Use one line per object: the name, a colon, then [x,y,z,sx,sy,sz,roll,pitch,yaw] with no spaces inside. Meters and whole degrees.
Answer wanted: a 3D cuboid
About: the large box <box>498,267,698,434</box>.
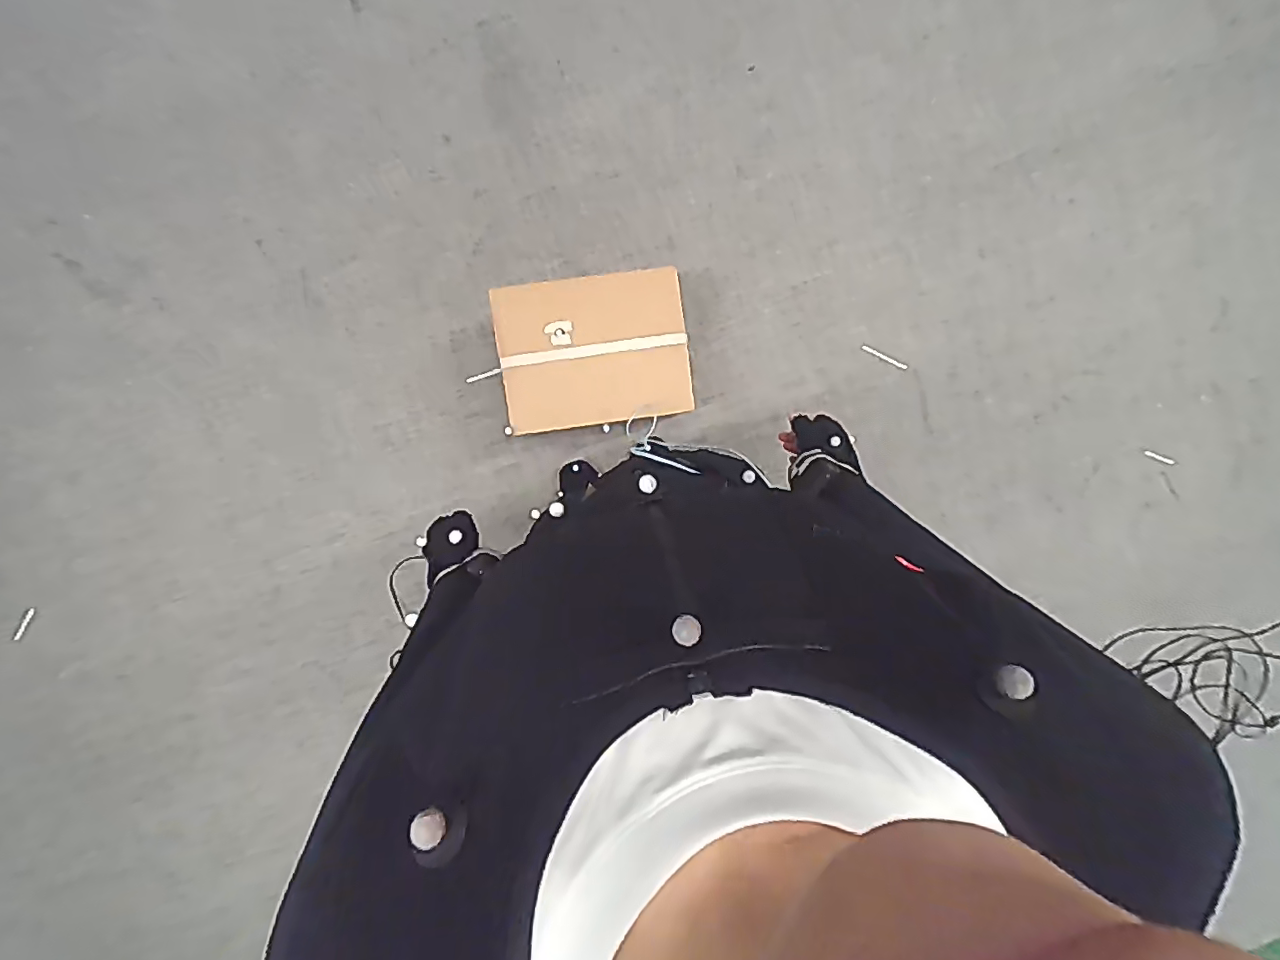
large box: [-0.091,-0.297,1.324,0.408,0.320,0.320,-8,95,-1]
